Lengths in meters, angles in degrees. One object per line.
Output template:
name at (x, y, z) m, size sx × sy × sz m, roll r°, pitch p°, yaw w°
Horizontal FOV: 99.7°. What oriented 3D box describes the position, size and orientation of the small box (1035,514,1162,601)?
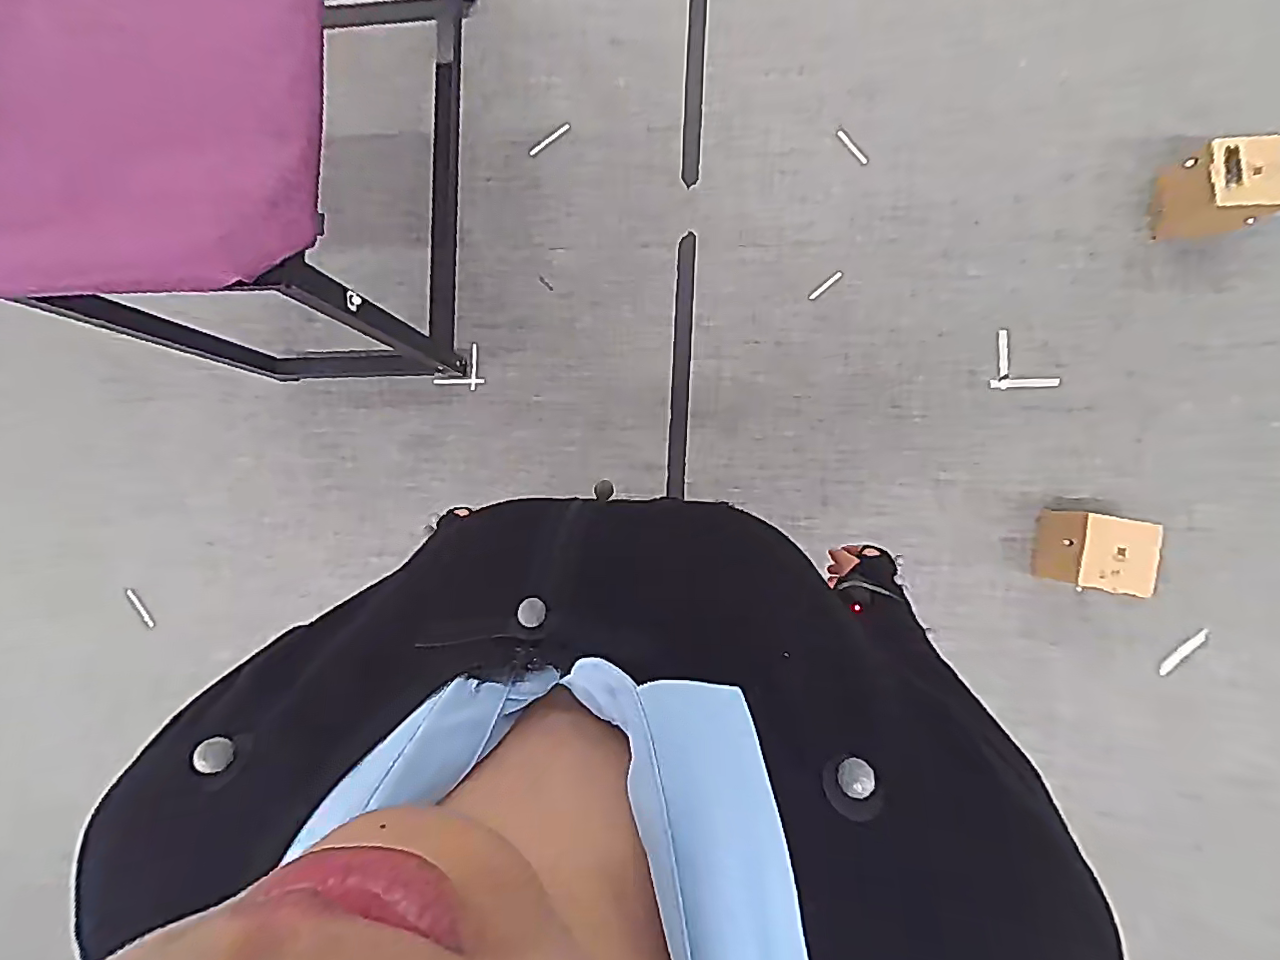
small box at (1.117, 0.183, 1.333) m, size 0.168 × 0.176 × 0.179 m, roll 11°, pitch 89°, yaw 6°
